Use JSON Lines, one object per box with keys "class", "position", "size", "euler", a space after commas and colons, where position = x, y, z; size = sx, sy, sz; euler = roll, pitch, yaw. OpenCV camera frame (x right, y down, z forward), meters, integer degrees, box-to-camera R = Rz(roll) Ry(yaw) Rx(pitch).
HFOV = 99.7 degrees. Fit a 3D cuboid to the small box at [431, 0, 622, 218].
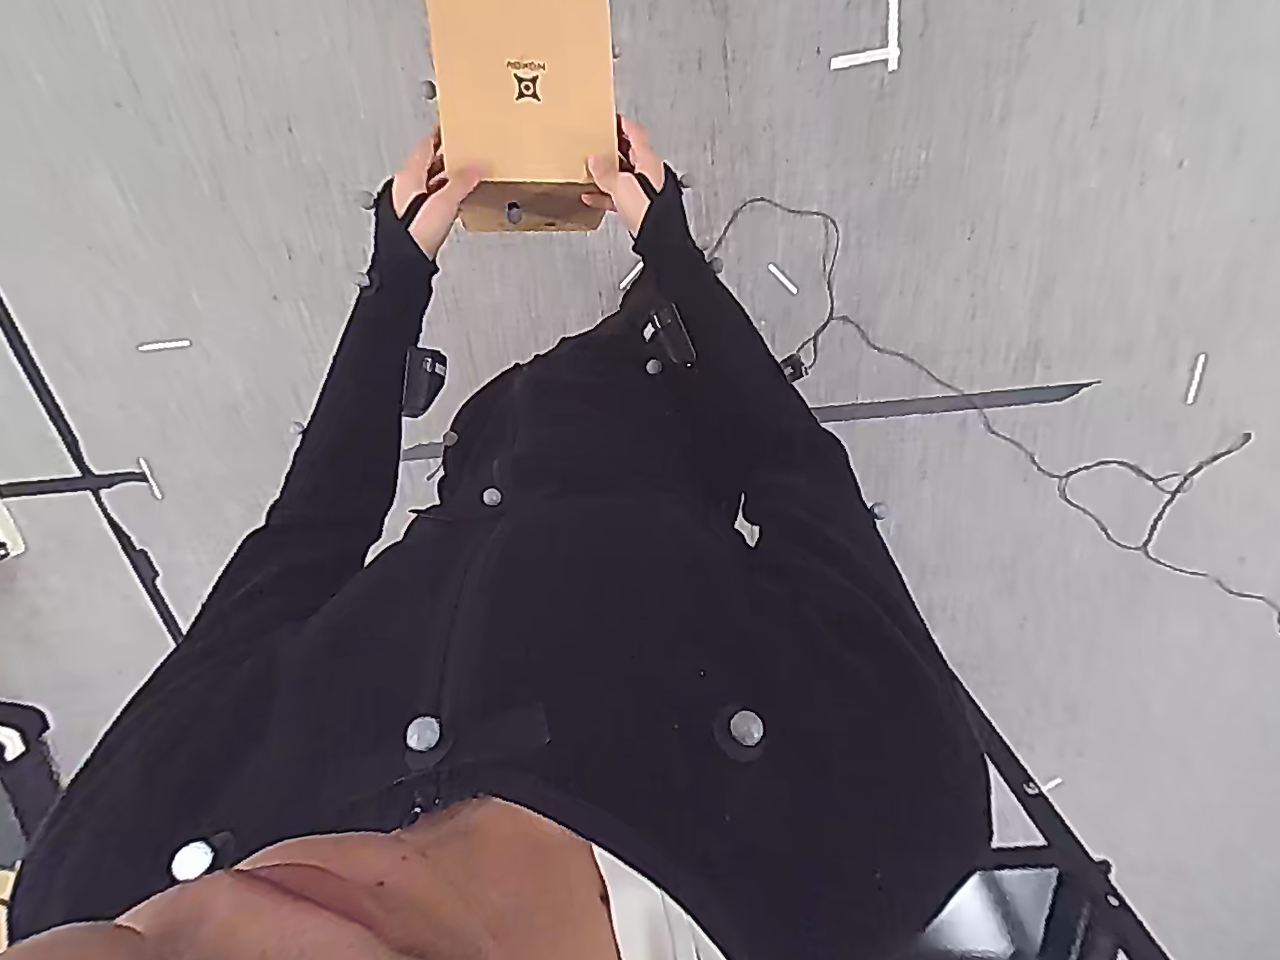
{"class": "small box", "position": [-0.115, -0.389, 0.568], "size": [0.168, 0.176, 0.179], "euler": [-5, 99, -11]}
